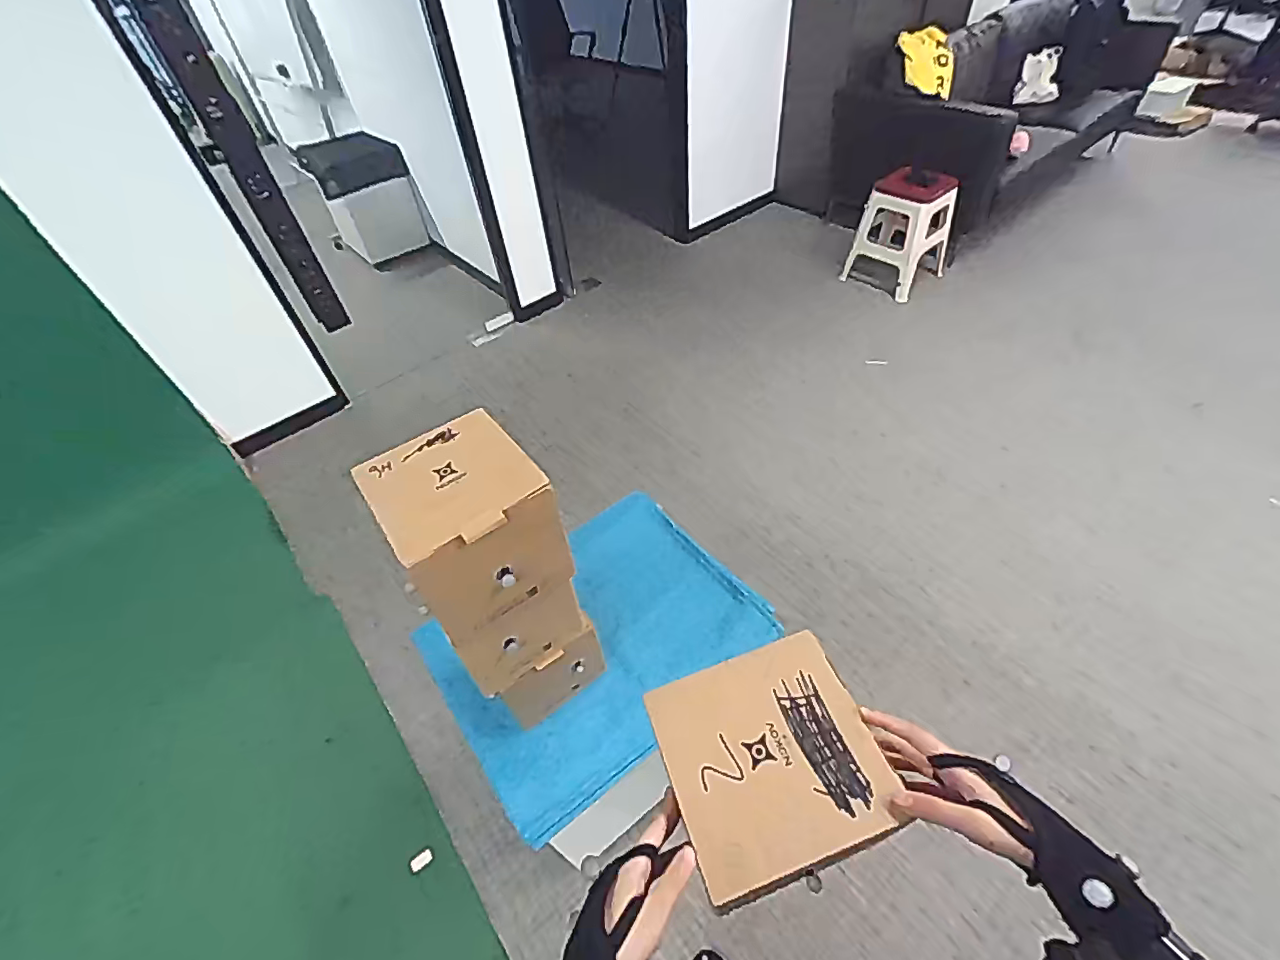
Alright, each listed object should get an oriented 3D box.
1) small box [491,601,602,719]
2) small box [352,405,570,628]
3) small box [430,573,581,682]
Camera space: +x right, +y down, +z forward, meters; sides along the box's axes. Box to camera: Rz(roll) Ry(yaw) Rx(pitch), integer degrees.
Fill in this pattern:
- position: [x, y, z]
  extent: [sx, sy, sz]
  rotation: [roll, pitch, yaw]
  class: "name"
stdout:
- position: [-0.178, 0.261, 0.885]
  extent: [0.168, 0.176, 0.179]
  rotation: [-31, 51, -22]
  class: "small box"
- position: [-0.201, 0.048, 0.639]
  extent: [0.168, 0.176, 0.179]
  rotation: [-30, 51, -21]
  class: "small box"
- position: [-0.200, 0.157, 0.762]
  extent: [0.168, 0.176, 0.179]
  rotation: [-30, 50, -21]
  class: "small box"
